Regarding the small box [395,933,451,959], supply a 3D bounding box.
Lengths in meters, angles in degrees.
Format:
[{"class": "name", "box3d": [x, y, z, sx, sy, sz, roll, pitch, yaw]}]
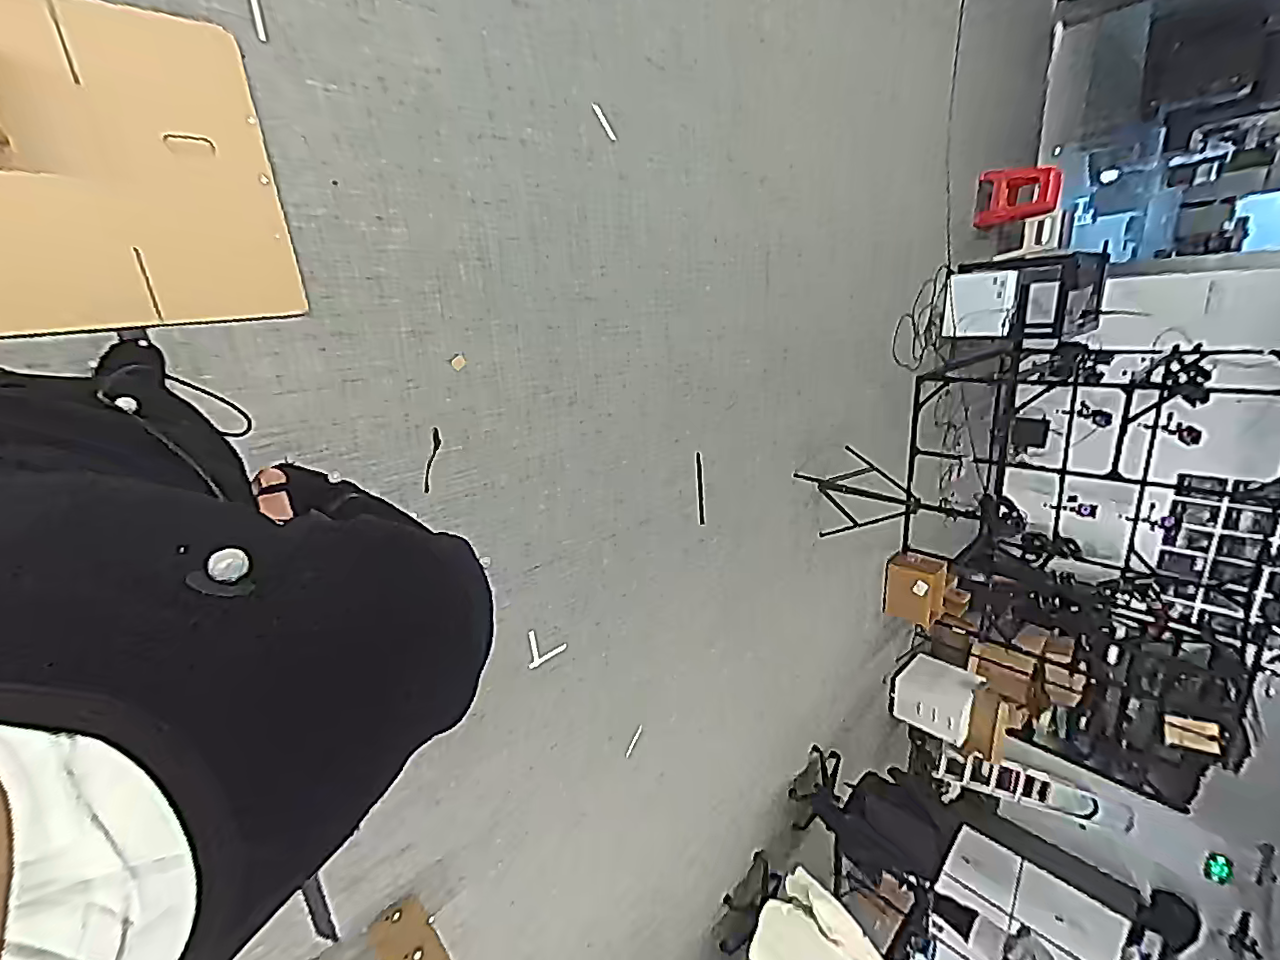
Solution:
[{"class": "small box", "box3d": [-0.678, 1.605, 1.709, 0.168, 0.176, 0.179, -18, 111, -40]}]
